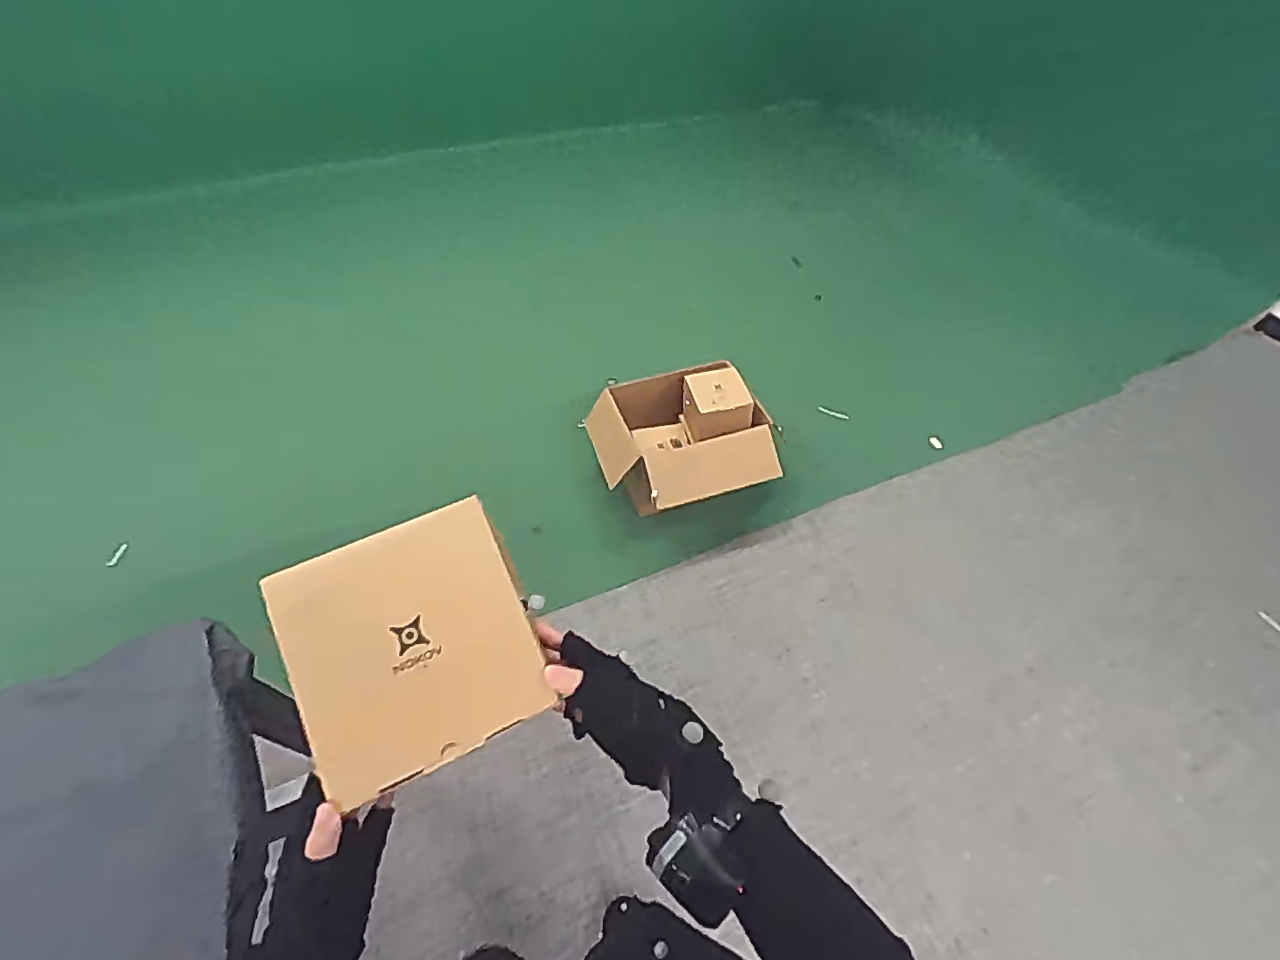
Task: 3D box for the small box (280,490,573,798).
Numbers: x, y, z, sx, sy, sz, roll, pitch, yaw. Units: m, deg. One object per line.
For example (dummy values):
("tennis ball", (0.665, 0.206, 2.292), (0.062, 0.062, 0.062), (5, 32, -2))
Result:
("small box", (-0.171, 0.133, 0.476), (0.168, 0.176, 0.179), (-22, 80, -15))
